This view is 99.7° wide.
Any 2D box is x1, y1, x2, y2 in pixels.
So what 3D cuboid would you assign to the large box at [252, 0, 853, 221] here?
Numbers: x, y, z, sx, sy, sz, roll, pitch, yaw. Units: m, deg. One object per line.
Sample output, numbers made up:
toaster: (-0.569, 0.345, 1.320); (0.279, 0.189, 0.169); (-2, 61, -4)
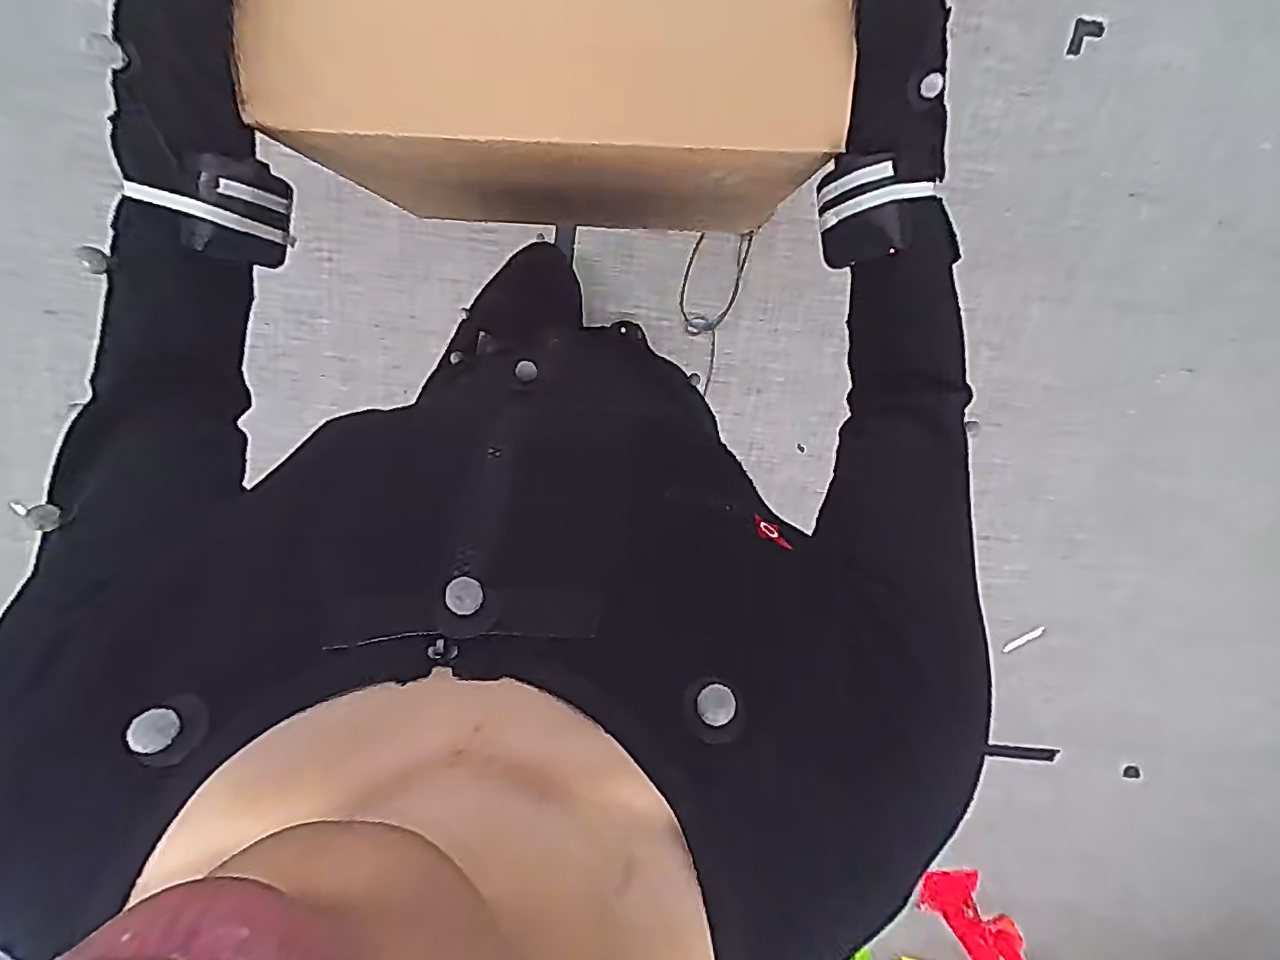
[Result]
large box: (-0.059, -0.430, 0.481); (0.408, 0.320, 0.320); (1, 105, -2)
